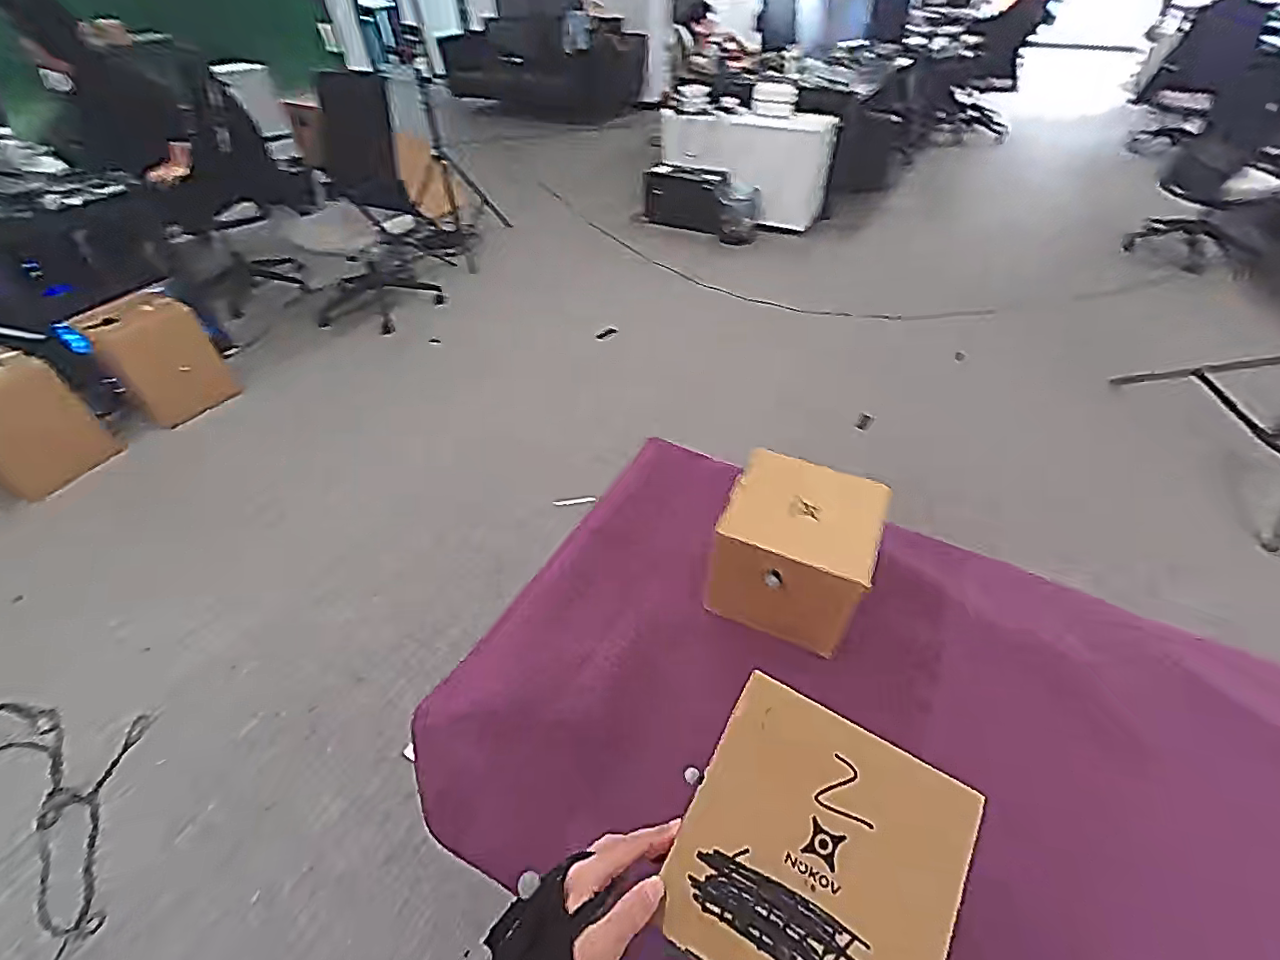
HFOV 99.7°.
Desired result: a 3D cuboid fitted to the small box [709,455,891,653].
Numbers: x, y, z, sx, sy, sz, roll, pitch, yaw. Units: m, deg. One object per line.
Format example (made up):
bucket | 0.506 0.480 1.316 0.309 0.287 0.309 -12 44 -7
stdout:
small box | 0.203 0.101 0.711 0.179 0.176 0.168 19 48 19
